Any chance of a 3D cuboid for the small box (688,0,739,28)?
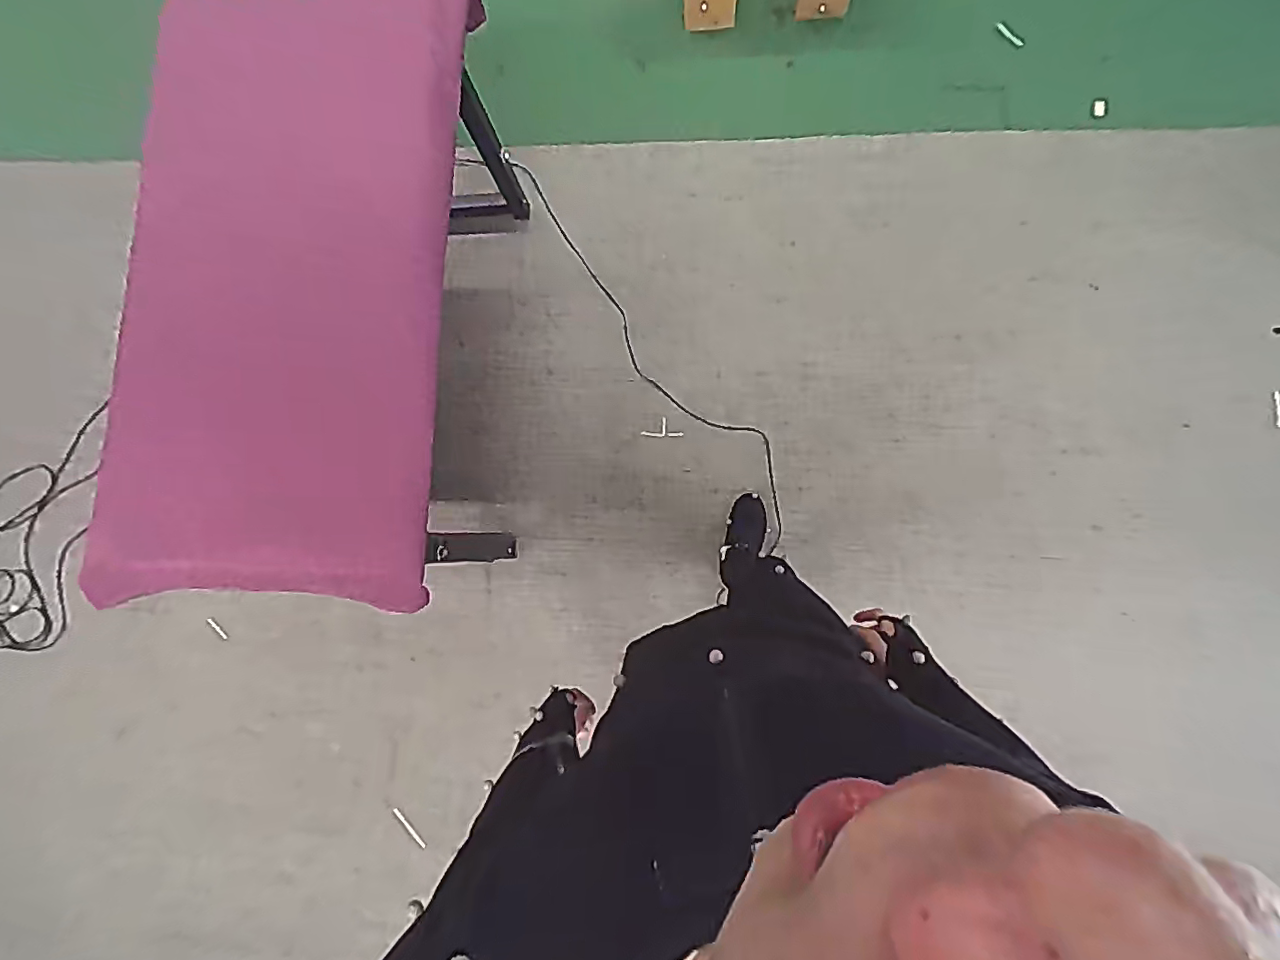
[{"bbox_3d":[0.238,-1.618,1.760,0.168,0.176,0.179,-1,82,6],"label":"small box"}]
